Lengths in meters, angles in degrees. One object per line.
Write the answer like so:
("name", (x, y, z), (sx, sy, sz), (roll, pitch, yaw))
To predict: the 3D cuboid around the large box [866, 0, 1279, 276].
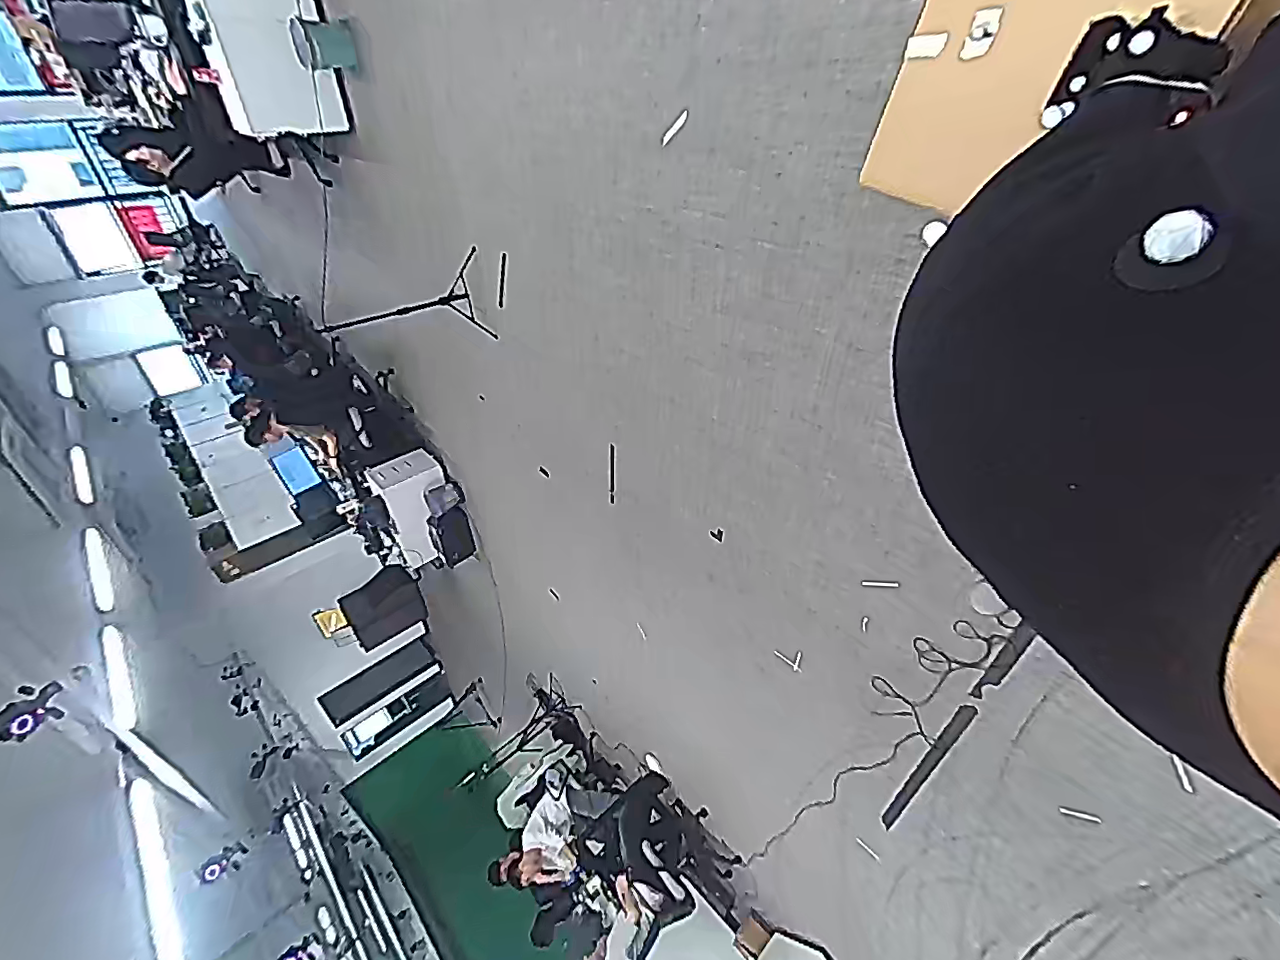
("large box", (0.590, -0.485, 0.712), (0.320, 0.408, 0.320), (48, 140, 35))
